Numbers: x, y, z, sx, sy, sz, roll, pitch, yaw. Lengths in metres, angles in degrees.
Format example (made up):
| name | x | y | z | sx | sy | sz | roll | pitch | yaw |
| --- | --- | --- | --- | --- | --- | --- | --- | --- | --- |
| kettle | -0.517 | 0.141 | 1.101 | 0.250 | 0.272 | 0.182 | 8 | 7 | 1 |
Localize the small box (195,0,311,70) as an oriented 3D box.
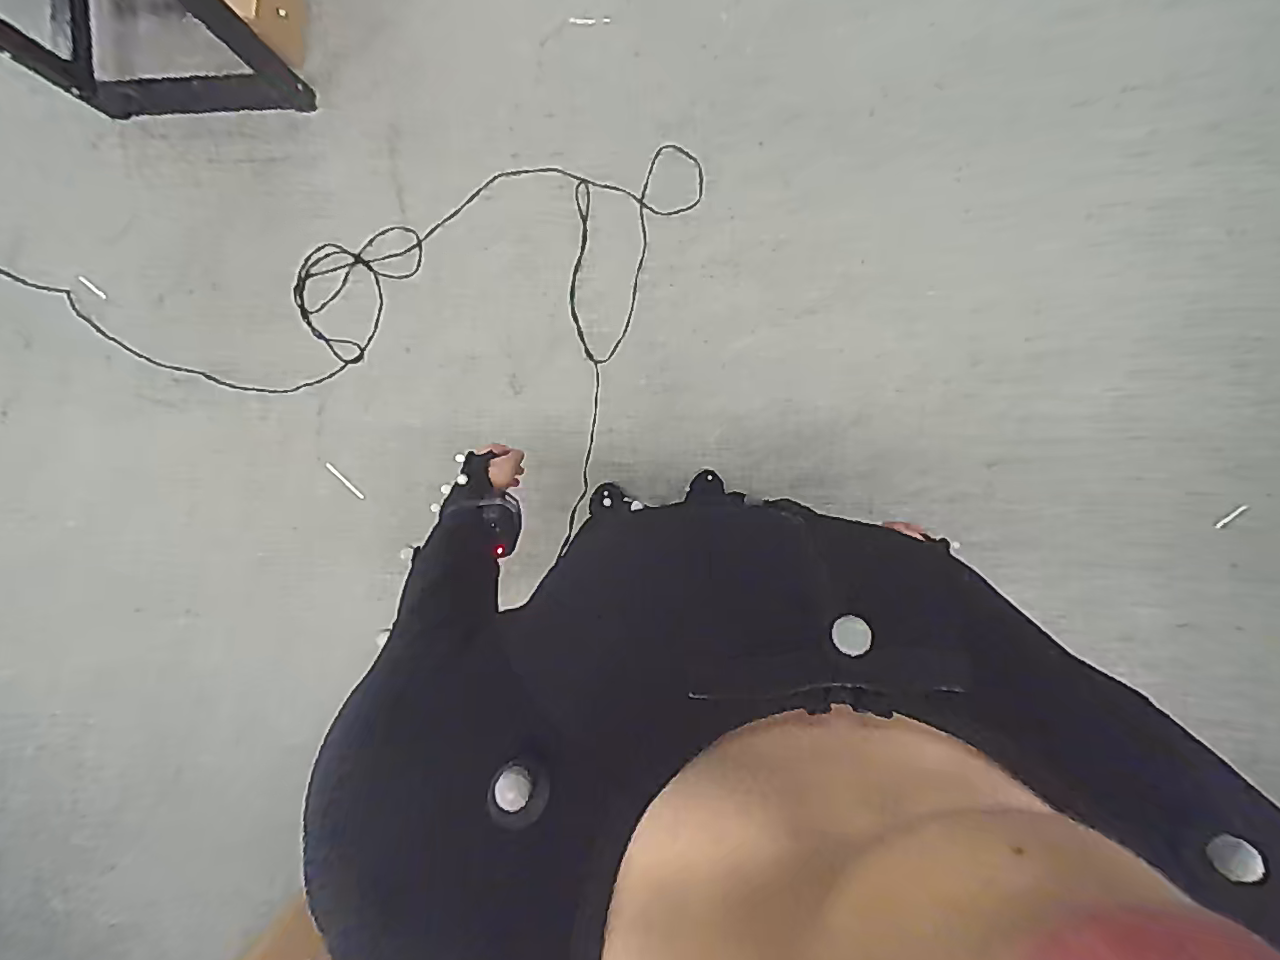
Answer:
| name | x | y | z | sx | sy | sz | roll | pitch | yaw |
| --- | --- | --- | --- | --- | --- | --- | --- | --- | --- |
| small box | -0.971 | -1.190 | 1.370 | 0.168 | 0.176 | 0.179 | 12 | 95 | 1 |
